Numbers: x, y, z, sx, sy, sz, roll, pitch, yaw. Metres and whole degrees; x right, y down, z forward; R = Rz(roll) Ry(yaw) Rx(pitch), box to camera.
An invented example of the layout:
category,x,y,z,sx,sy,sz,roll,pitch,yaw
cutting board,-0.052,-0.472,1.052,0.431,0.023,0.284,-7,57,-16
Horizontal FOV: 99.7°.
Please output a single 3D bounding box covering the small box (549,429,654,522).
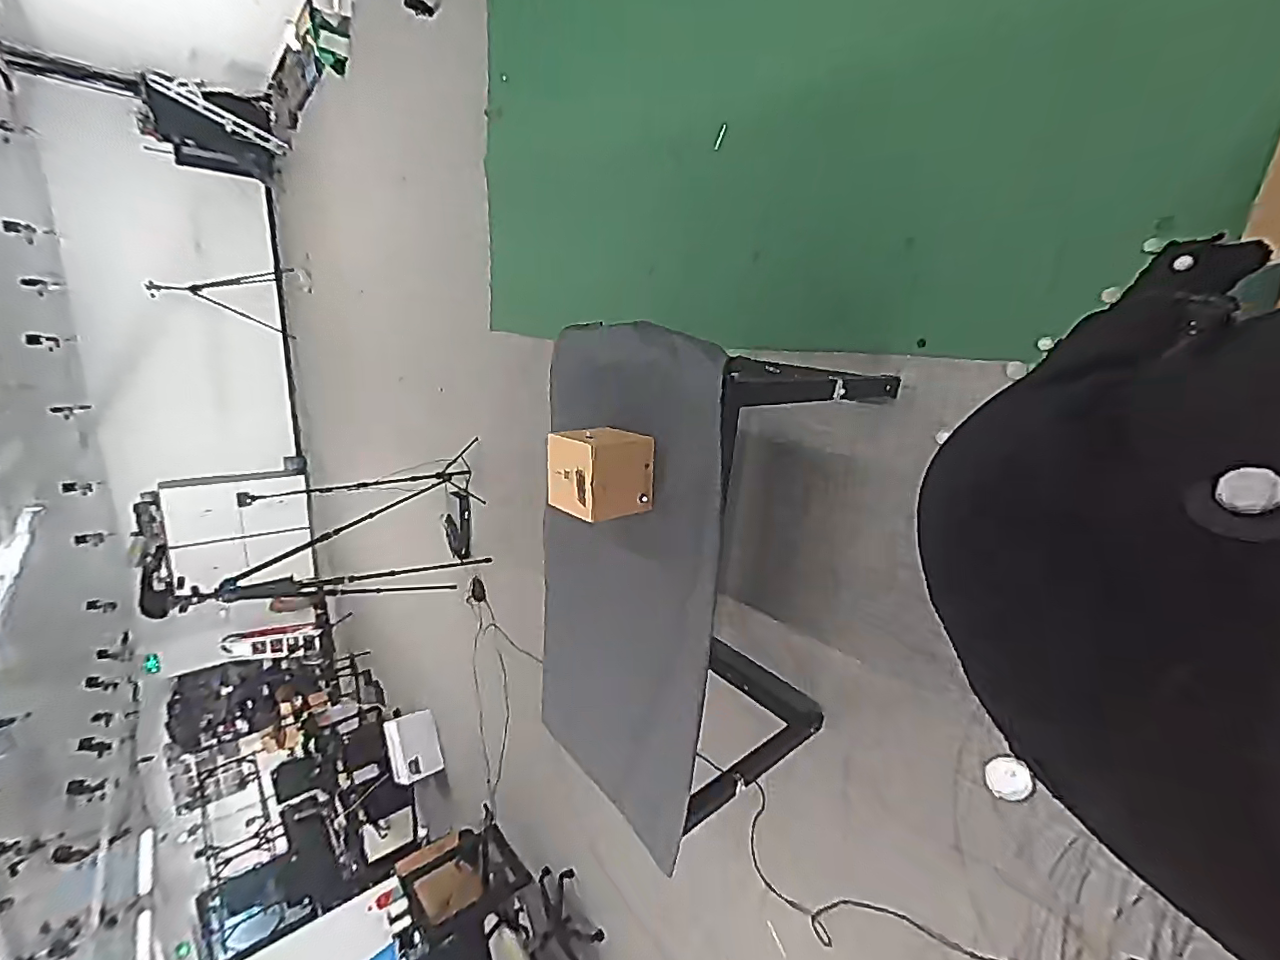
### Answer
category,x,y,z,sx,sy,sz,roll,pitch,yaw
small box,-0.085,-0.019,1.201,0.179,0.176,0.168,18,111,48
